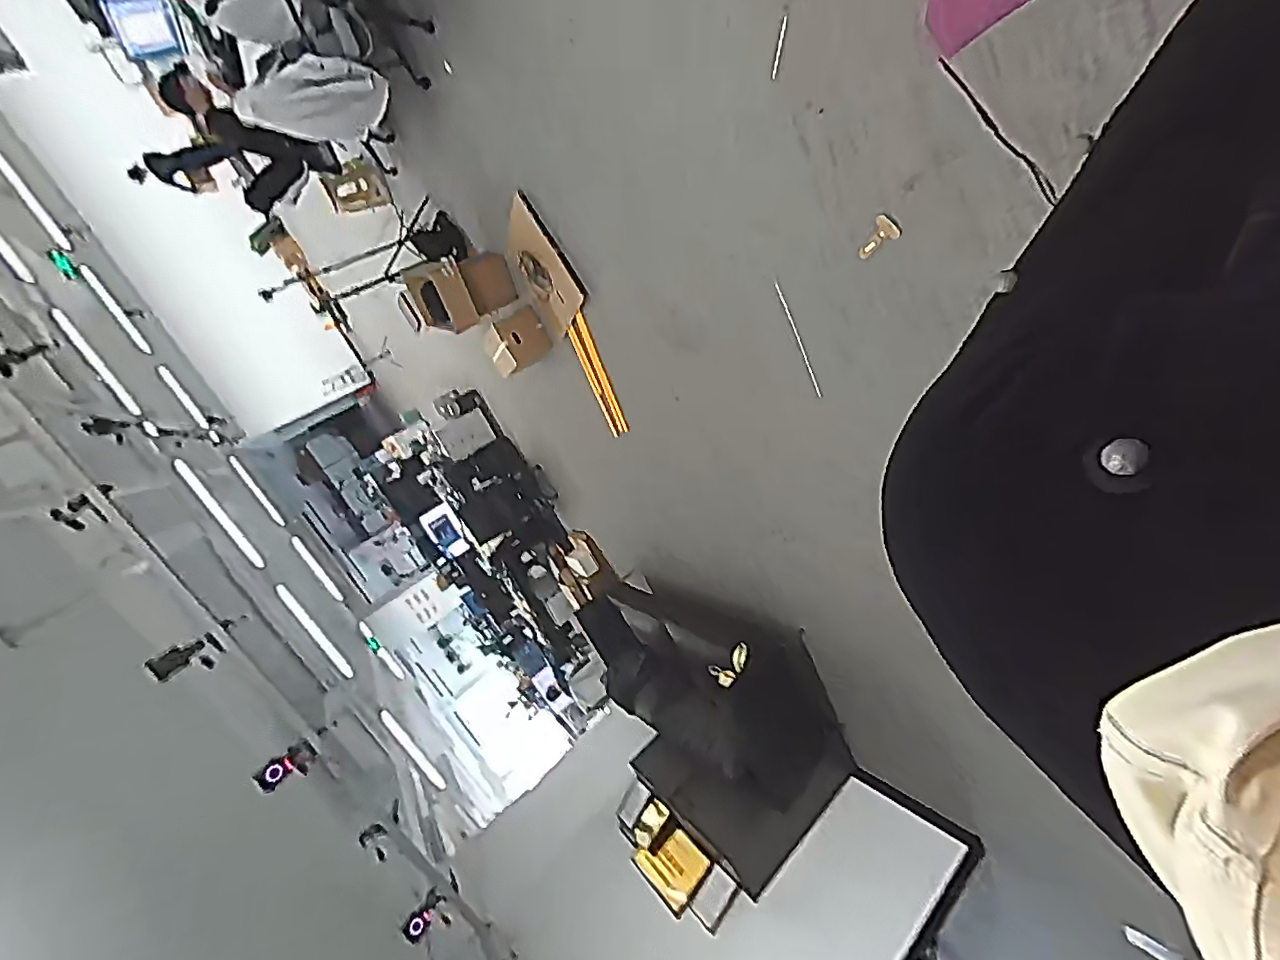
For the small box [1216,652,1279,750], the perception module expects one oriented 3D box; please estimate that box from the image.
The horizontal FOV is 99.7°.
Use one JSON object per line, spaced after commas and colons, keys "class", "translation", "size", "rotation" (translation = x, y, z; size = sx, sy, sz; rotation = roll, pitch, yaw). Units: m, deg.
{"class": "small box", "translation": [1.661, 0.581, 1.416], "size": [0.179, 0.176, 0.168], "rotation": [5, 126, 58]}
